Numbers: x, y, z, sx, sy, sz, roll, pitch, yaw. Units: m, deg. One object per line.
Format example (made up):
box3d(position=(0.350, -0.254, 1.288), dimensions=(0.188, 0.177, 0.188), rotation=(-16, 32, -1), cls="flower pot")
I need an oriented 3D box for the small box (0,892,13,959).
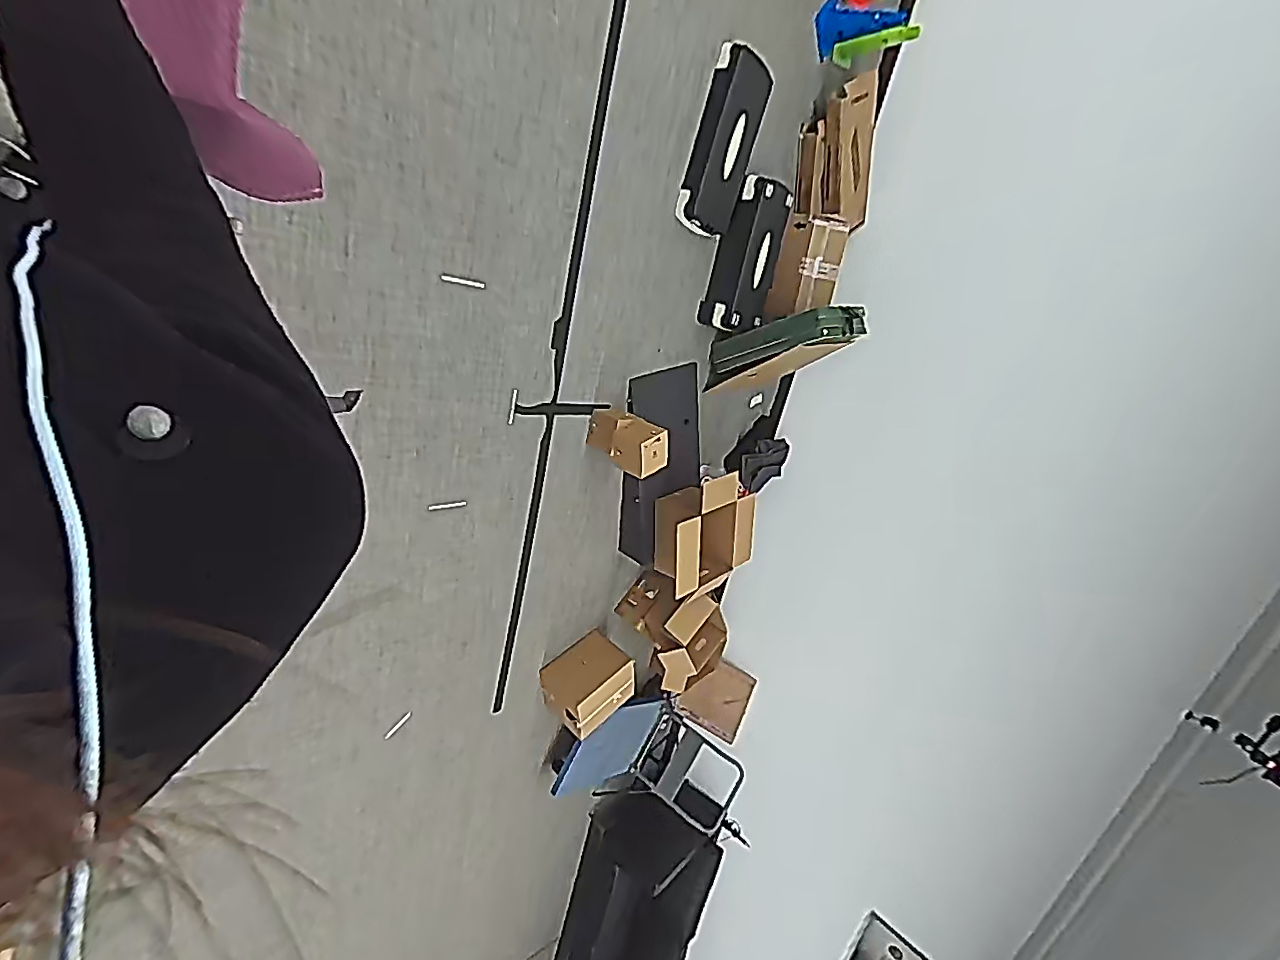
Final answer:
box3d(position=(-1.736, 1.216, 1.373), dimensions=(0.179, 0.176, 0.168), rotation=(1, 112, -53), cls="small box")
